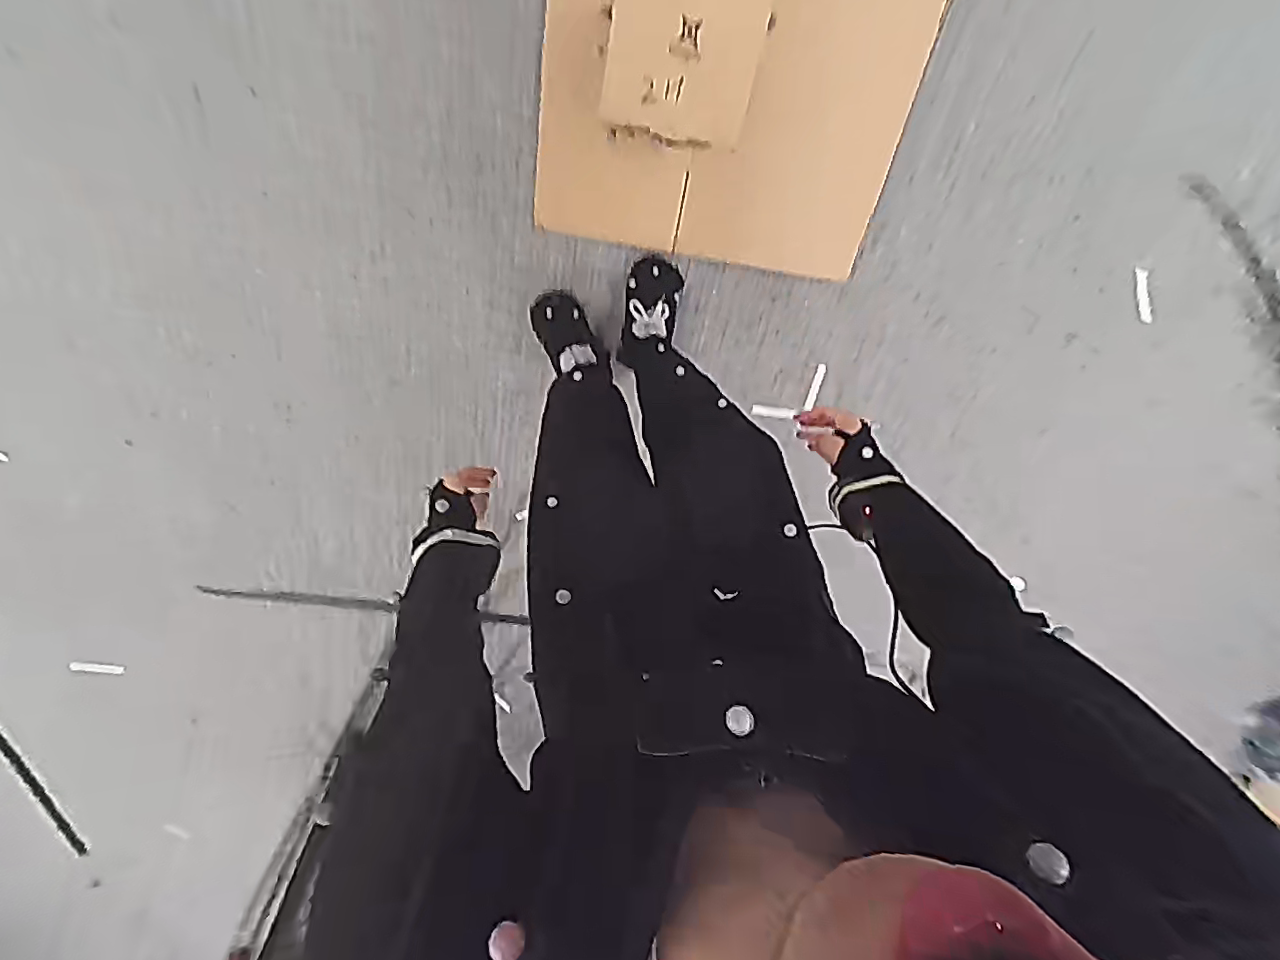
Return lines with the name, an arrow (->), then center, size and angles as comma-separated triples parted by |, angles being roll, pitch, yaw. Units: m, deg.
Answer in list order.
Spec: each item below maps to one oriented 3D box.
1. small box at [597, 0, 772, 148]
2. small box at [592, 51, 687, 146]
small box -> 0.042, -0.517, 0.644 | 0.168, 0.176, 0.179 | 8, 123, -10
small box -> 0.015, -0.692, 0.921 | 0.168, 0.176, 0.179 | 9, 121, -11
